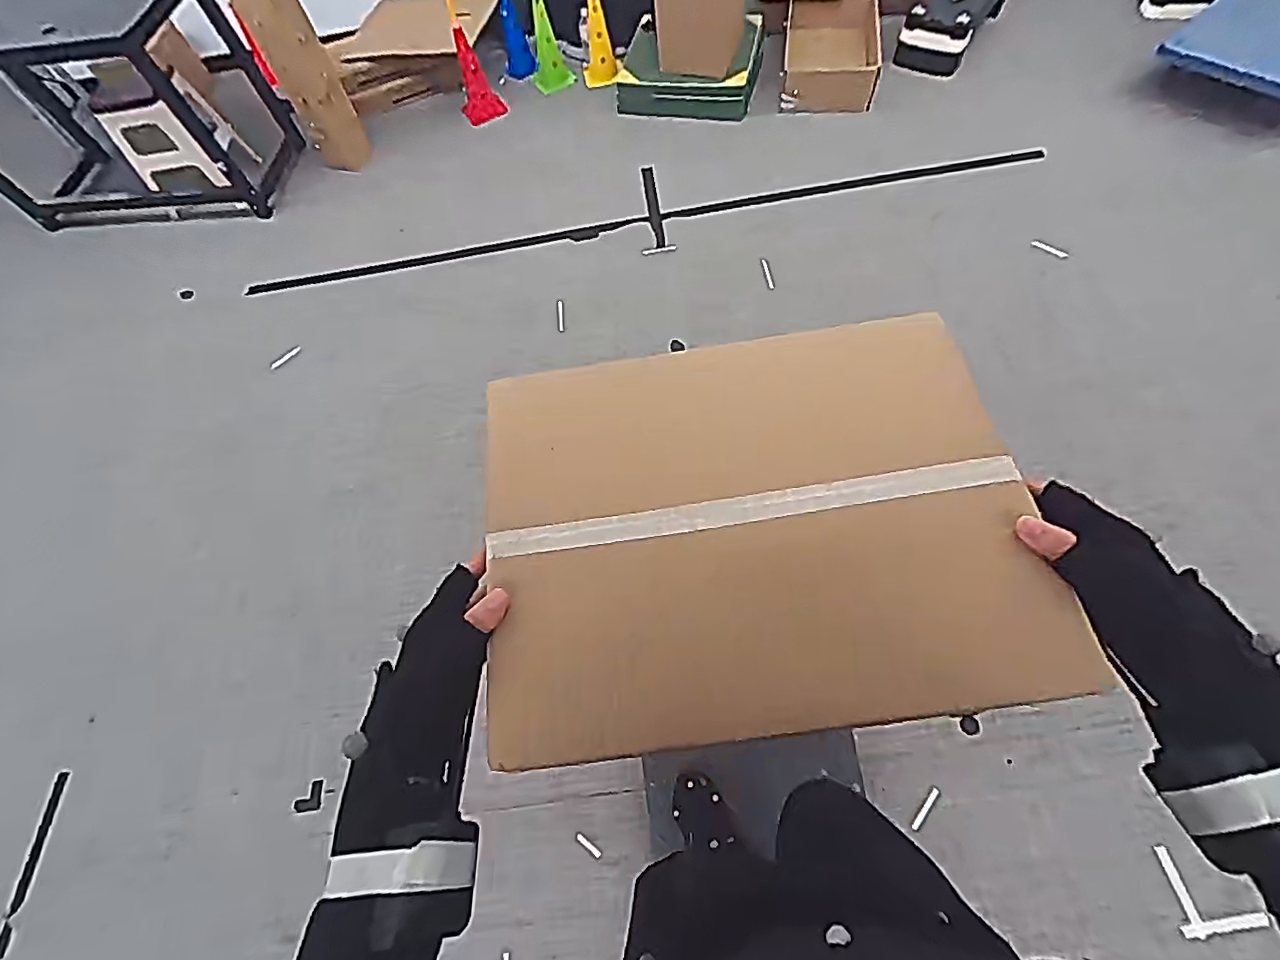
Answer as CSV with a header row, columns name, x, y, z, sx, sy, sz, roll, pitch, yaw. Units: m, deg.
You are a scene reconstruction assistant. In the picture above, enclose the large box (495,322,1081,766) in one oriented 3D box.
name,x,y,z,sx,sy,sz,roll,pitch,yaw
large box,0.098,0.086,0.562,0.408,0.320,0.320,-9,65,2
